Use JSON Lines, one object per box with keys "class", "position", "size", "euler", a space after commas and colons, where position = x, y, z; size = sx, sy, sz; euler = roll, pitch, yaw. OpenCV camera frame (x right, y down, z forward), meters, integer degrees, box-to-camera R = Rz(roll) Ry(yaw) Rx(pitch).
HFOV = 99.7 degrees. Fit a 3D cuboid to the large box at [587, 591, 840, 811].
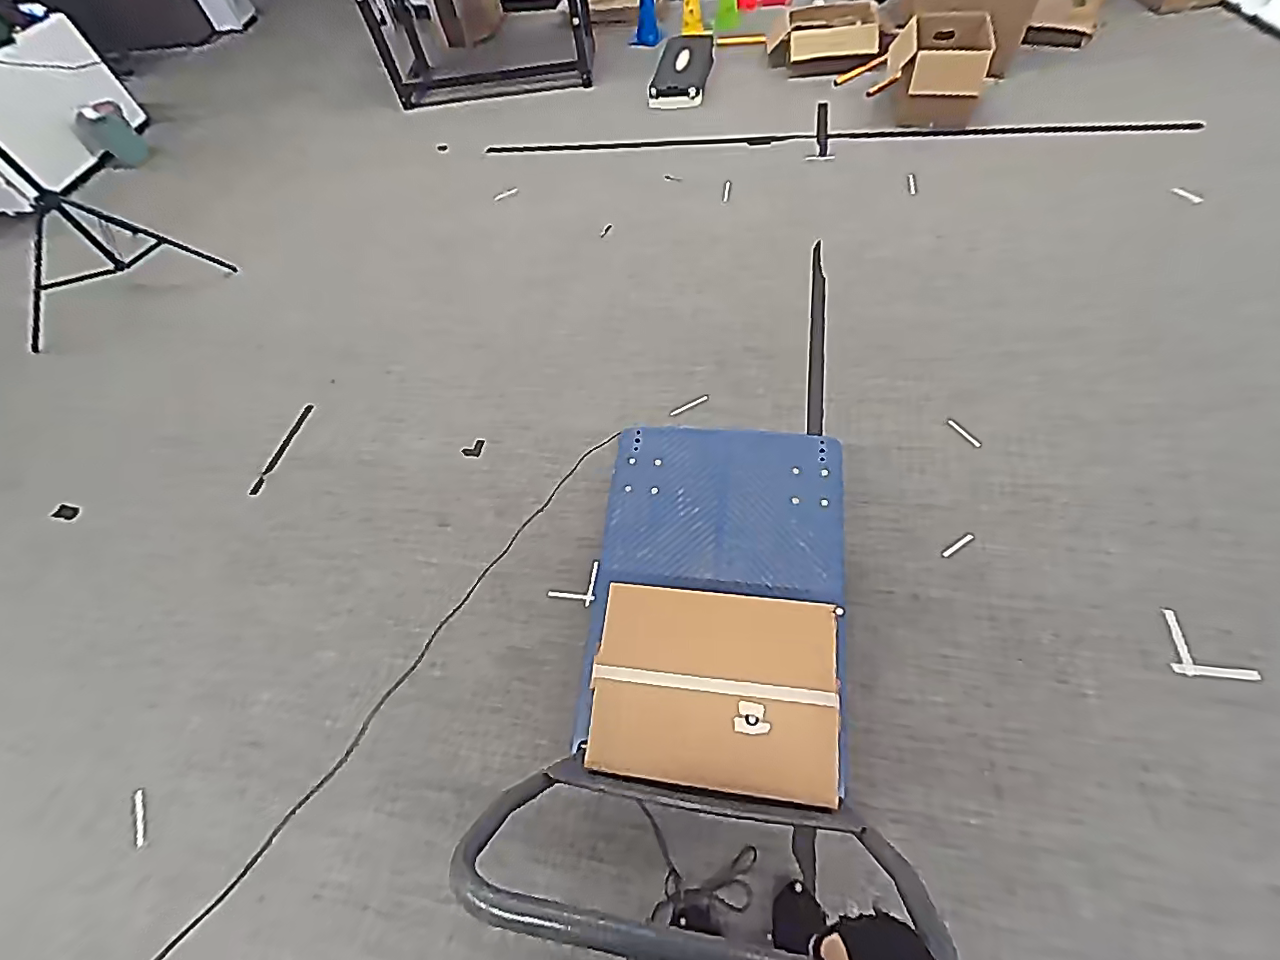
{"class": "large box", "position": [0.138, 0.412, 1.039], "size": [0.408, 0.320, 0.320], "euler": [3, 68, 9]}
